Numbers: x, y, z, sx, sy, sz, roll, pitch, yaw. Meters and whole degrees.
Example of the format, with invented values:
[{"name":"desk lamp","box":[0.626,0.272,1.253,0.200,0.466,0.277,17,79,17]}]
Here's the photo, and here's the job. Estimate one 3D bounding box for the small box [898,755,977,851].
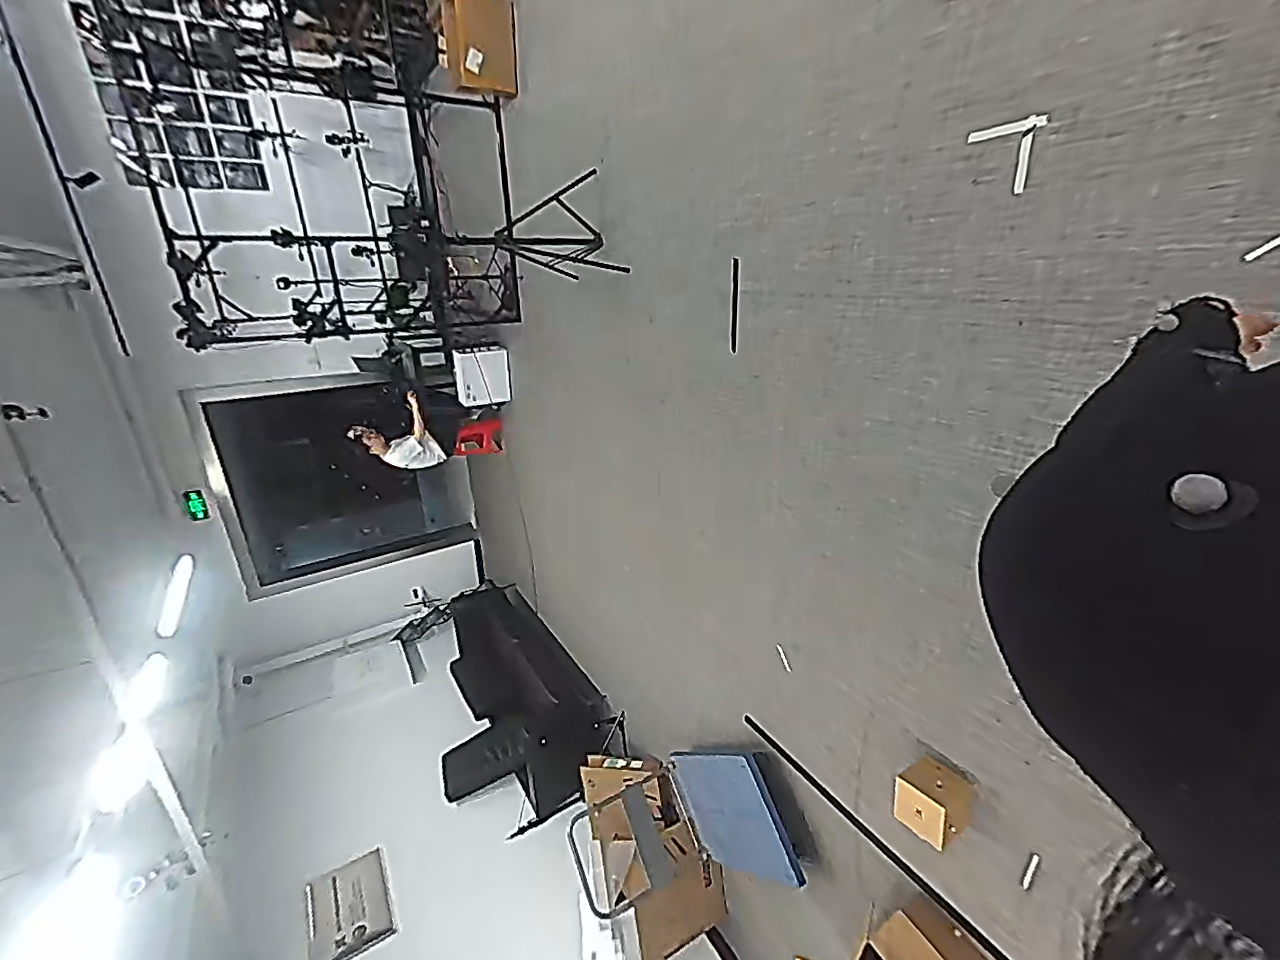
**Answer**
[{"name":"small box","box":[0.972,1.045,1.767,0.168,0.176,0.179,19,119,56]}]
